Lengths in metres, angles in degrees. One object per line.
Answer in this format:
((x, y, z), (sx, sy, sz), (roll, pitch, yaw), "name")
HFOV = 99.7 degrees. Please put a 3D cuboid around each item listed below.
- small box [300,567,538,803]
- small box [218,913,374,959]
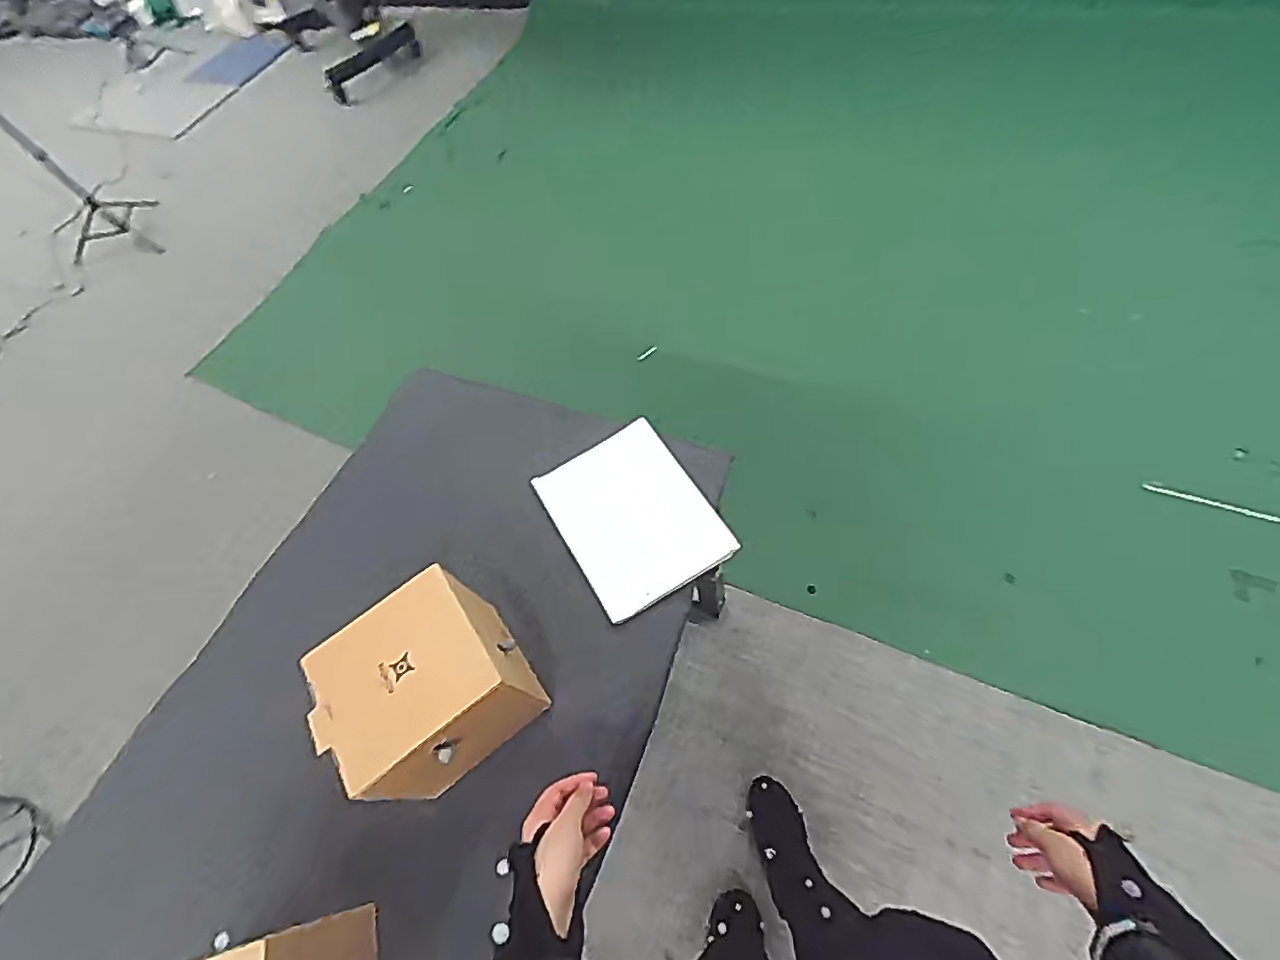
((-0.237, 0.237, 0.625), (0.179, 0.176, 0.168), (-37, 62, -10), "small box")
((-0.360, 0.526, 0.485), (0.179, 0.176, 0.168), (-19, 59, -1), "small box")
